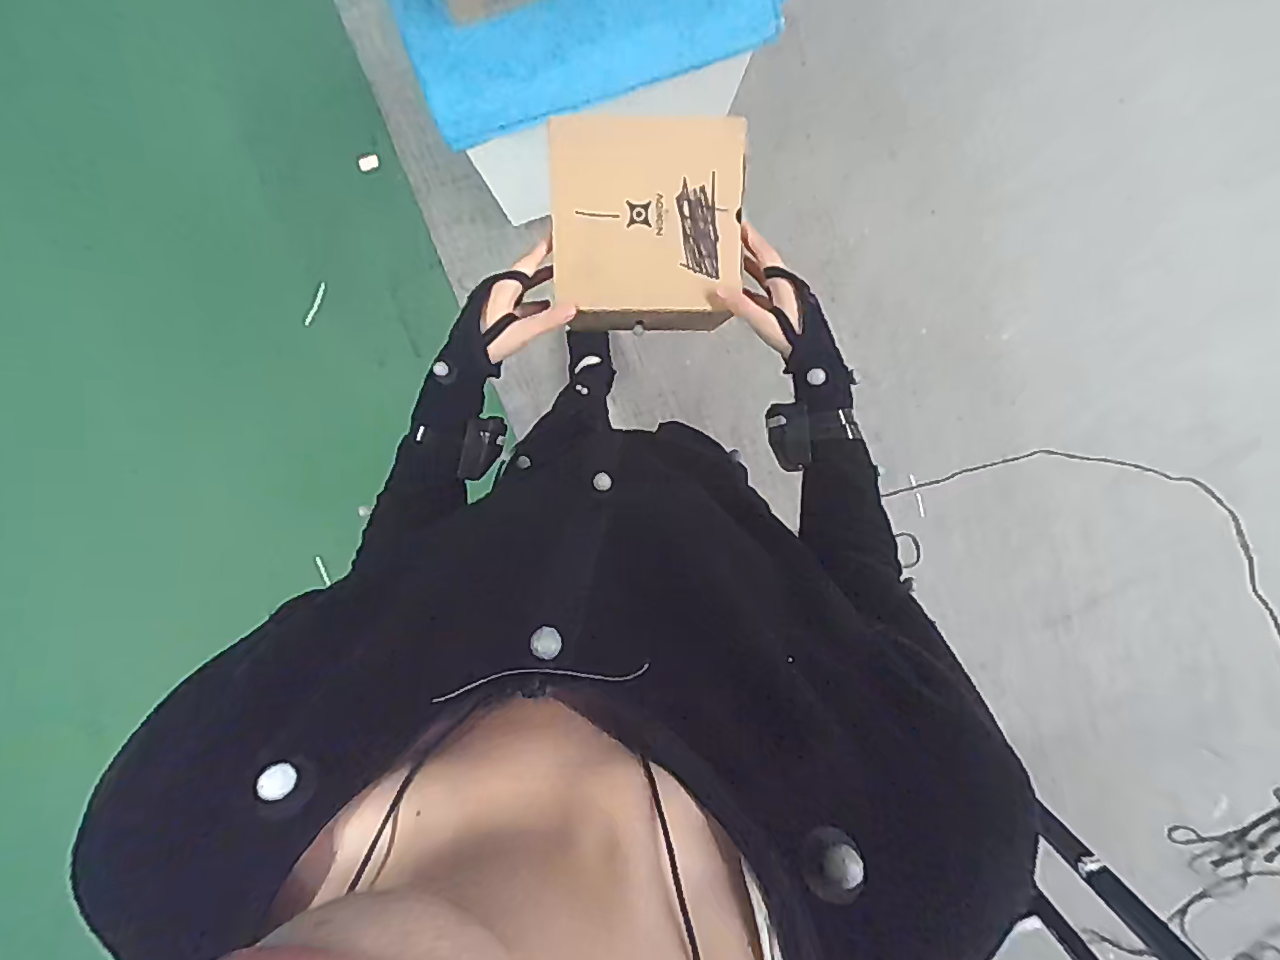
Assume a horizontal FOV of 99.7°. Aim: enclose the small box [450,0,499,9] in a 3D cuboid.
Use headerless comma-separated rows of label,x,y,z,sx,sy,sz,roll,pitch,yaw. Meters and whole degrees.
small box,-0.203,-0.734,0.664,0.168,0.176,0.179,-19,100,-1
